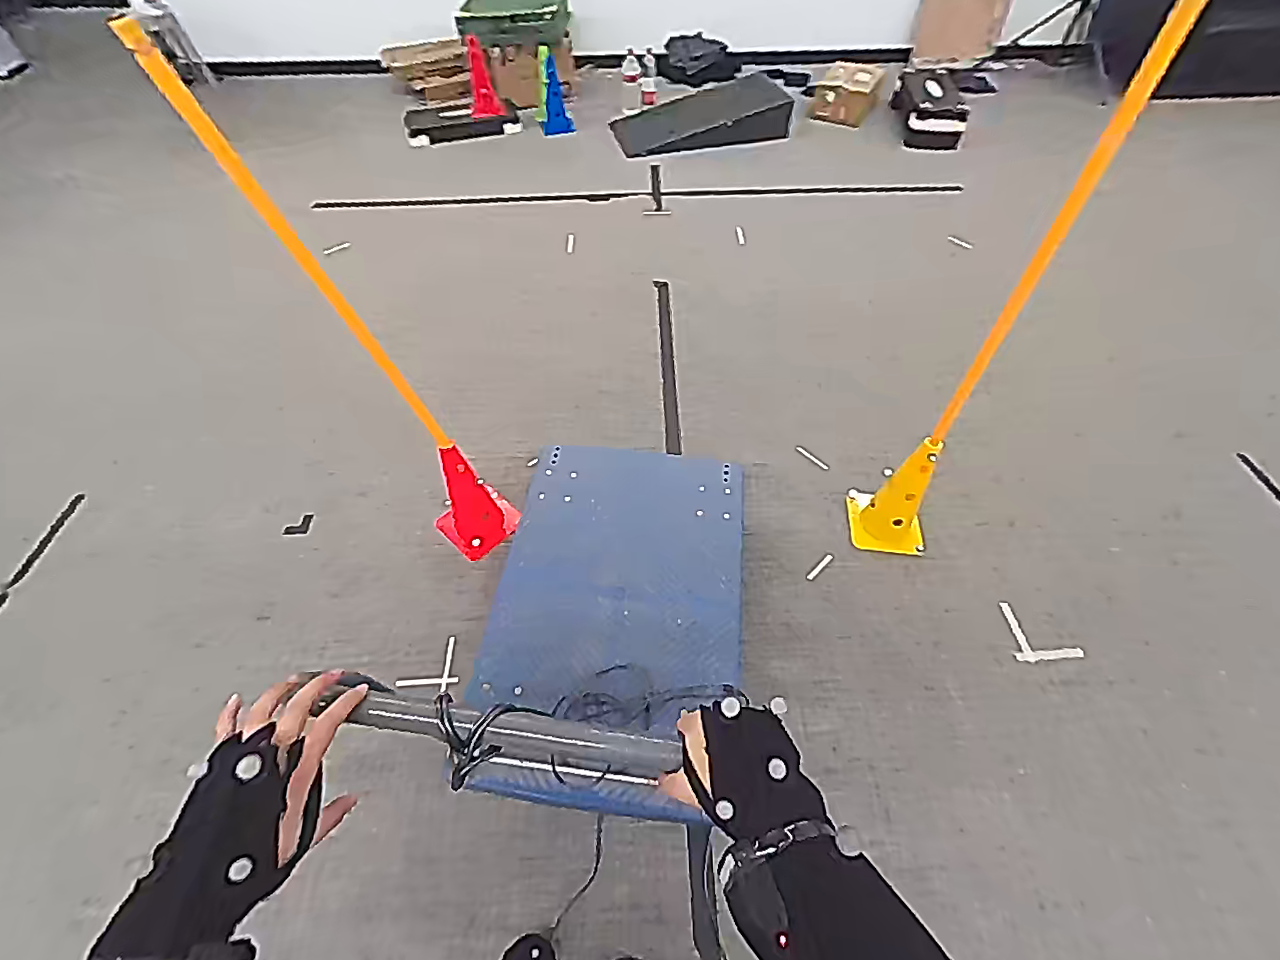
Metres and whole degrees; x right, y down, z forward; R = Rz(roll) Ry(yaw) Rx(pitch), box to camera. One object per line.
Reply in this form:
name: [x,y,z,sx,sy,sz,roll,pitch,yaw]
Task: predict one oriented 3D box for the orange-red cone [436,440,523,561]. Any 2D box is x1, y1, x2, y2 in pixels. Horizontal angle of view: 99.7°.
orange-red cone: [-0.469,0.022,1.456,0.198,0.360,0.199,38,60,24]
